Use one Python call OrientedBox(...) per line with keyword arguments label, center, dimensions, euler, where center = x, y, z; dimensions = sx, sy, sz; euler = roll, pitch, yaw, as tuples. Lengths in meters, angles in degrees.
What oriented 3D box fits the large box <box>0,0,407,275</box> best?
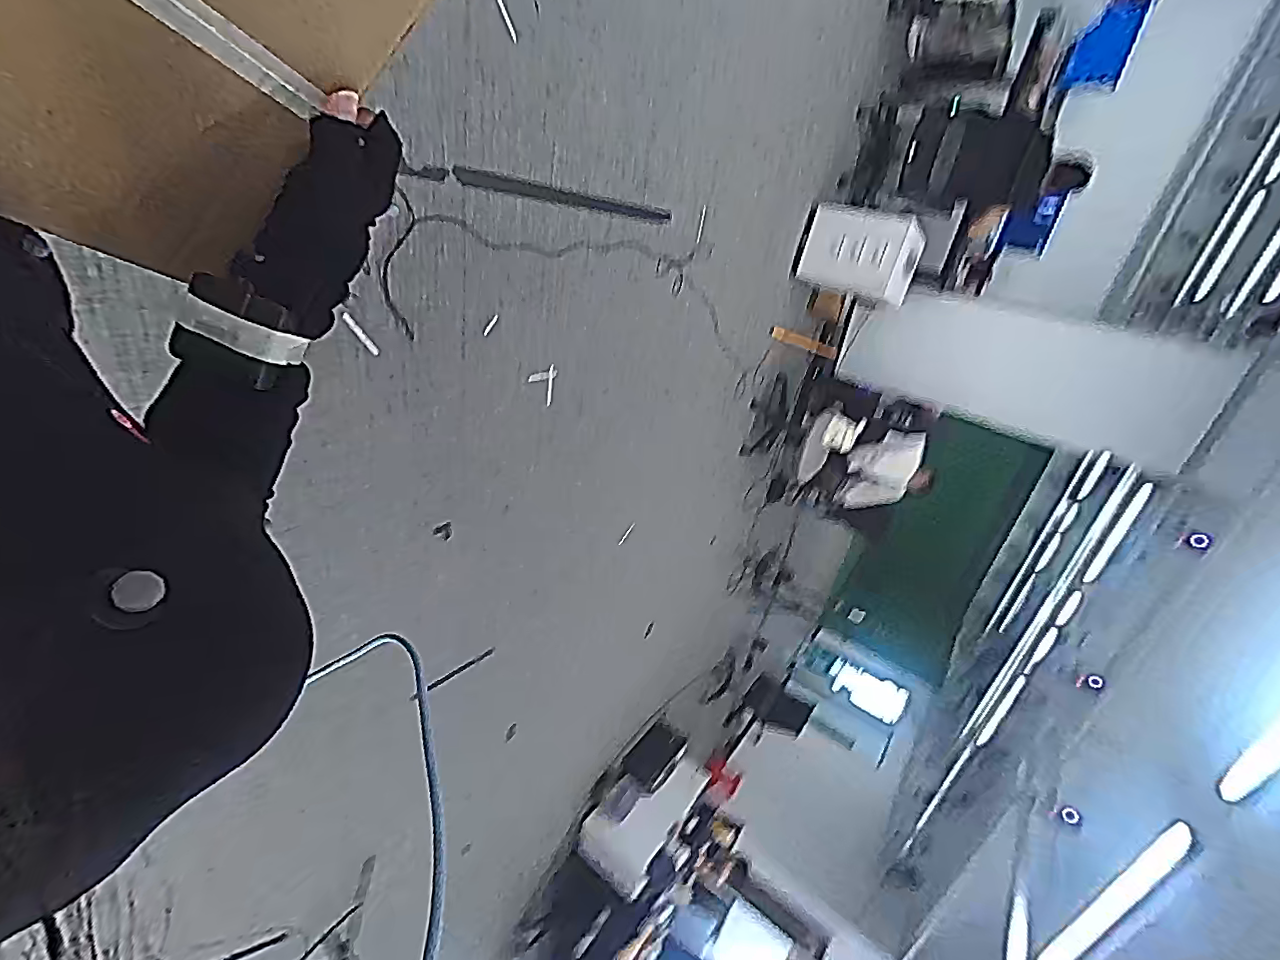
OrientedBox(label="large box", center=(-0.371, -0.376, 0.238), dimensions=(0.320, 0.320, 0.408), euler=(-41, 158, 19))
